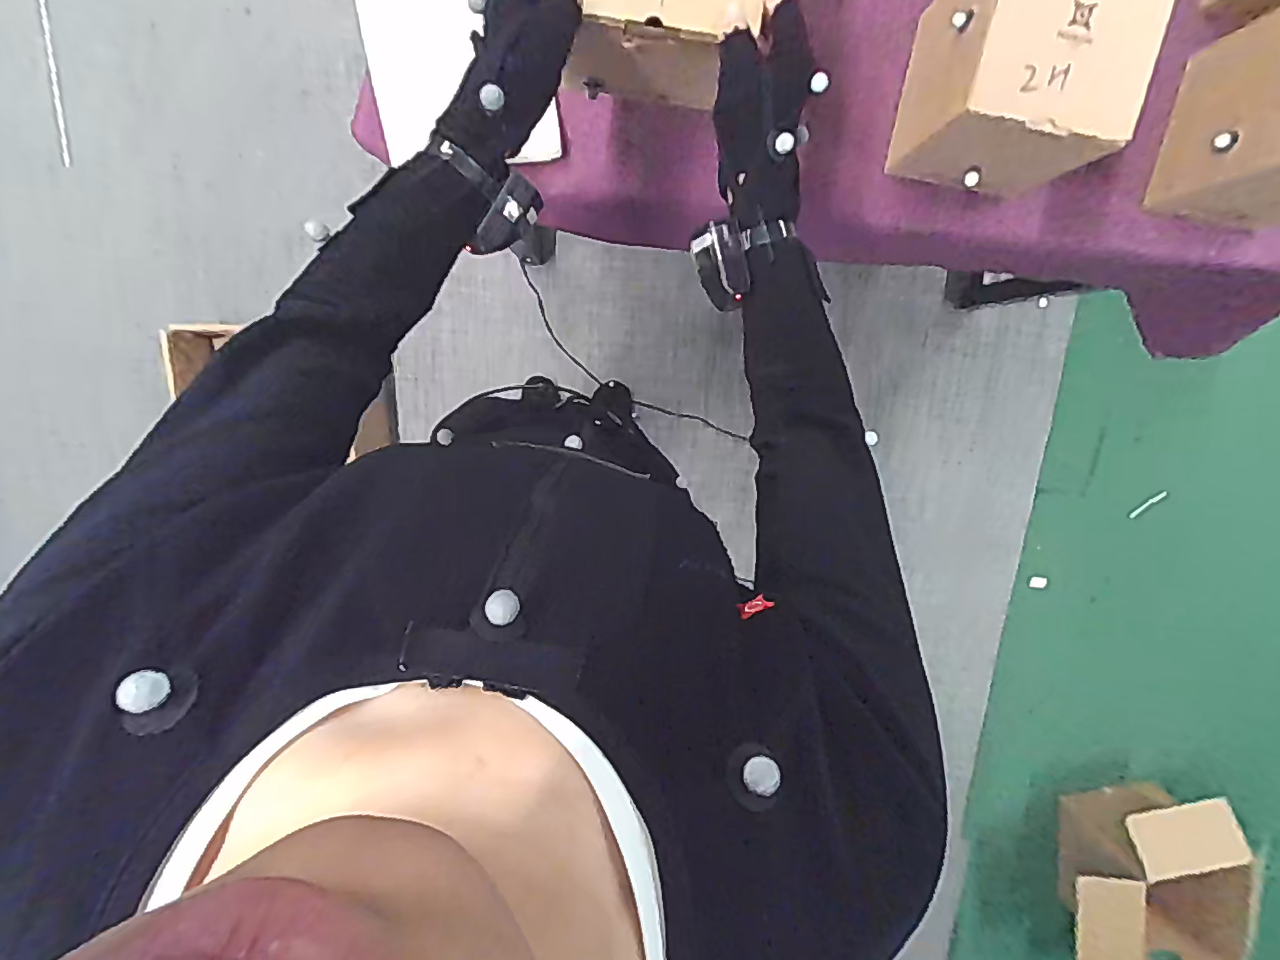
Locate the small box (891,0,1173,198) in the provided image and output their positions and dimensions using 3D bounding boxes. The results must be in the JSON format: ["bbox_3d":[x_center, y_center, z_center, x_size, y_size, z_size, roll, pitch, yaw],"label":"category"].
[{"bbox_3d":[0.398,-0.432,0.575,0.168,0.176,0.179,10,101,-4],"label":"small box"}]

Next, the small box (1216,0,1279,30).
[{"bbox_3d":[0.758,-0.604,0.552,0.168,0.176,0.179,11,102,-5],"label":"small box"}]

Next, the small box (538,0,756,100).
[{"bbox_3d":[0.010,-0.450,0.453,0.168,0.176,0.179,4,109,-5],"label":"small box"}]
